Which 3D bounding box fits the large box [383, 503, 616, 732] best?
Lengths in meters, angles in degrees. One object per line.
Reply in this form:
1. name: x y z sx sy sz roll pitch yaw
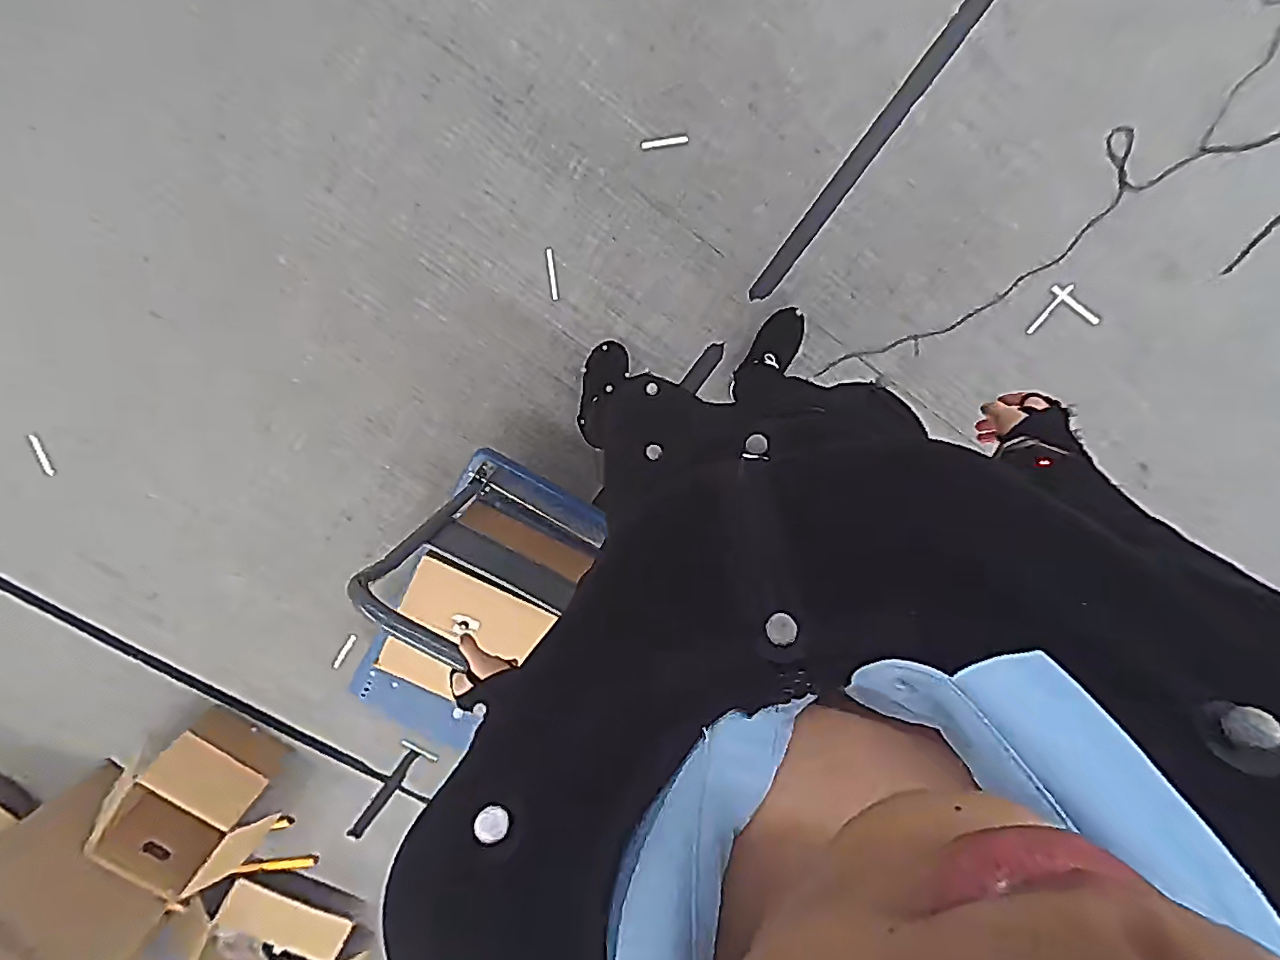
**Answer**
1. large box: -0.310 0.312 1.295 0.408 0.320 0.320 27 107 -6
